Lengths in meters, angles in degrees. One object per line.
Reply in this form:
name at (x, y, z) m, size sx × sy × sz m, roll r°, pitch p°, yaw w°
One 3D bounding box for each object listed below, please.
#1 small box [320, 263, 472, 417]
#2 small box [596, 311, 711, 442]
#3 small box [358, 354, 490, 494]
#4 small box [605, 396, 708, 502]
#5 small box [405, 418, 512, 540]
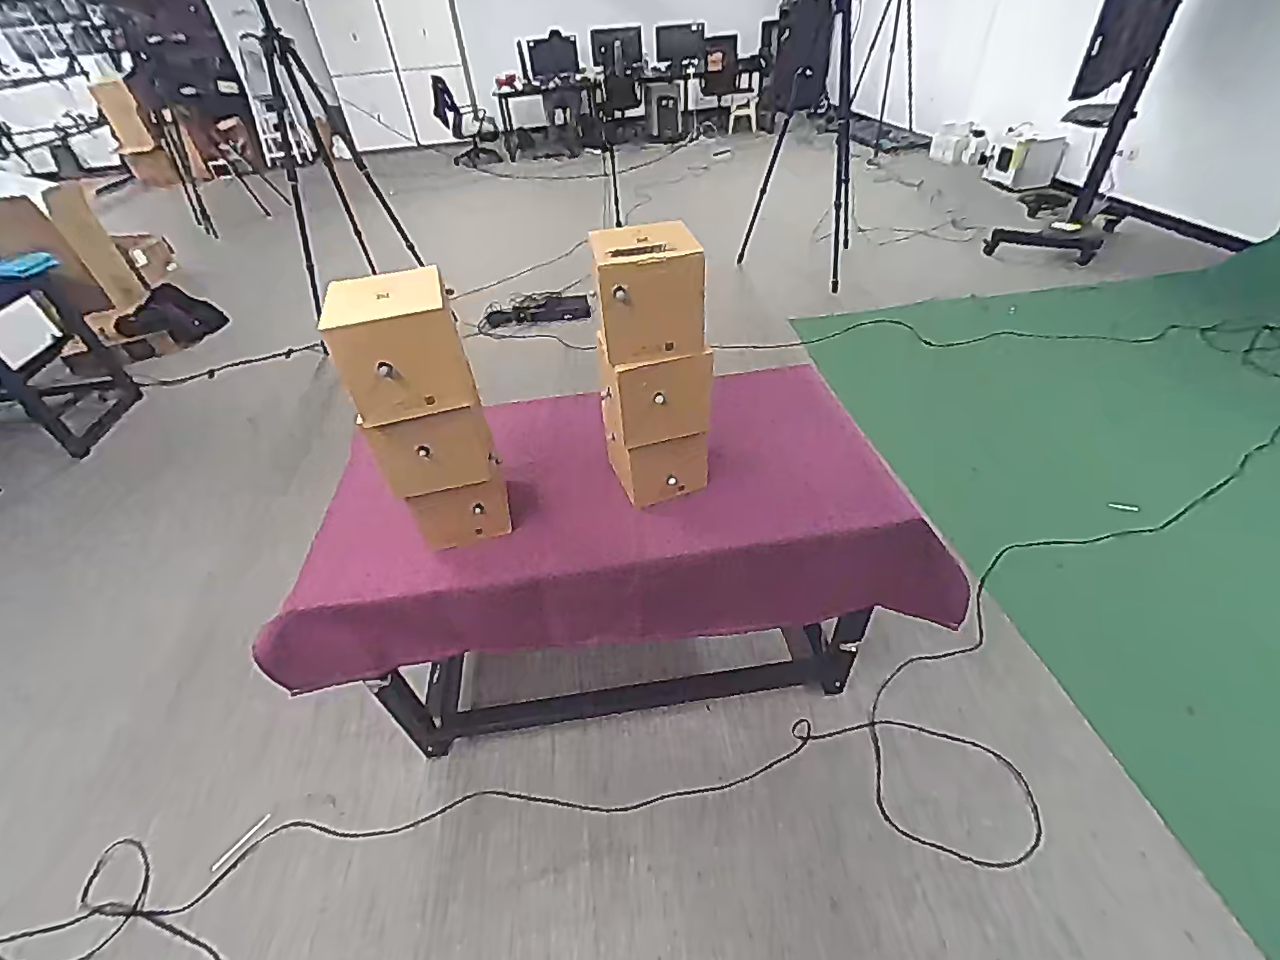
small box at (-0.370, -0.214, 0.847) m, size 0.168 × 0.176 × 0.179 m, roll -15°, pitch 42°, yaw -11°
small box at (0.028, -0.191, 1.016) m, size 0.179 × 0.176 × 0.168 m, roll -13°, pitch 43°, yaw -8°
small box at (-0.370, -0.100, 0.963) m, size 0.179 × 0.176 × 0.168 m, roll -13°, pitch 43°, yaw -8°
small box at (0.033, -0.082, 1.140) m, size 0.168 × 0.176 × 0.179 m, roll -17°, pitch 43°, yaw -12°
small box at (-0.360, 0.004, 1.091) m, size 0.168 × 0.176 × 0.179 m, roll -12°, pitch 42°, yaw -8°
